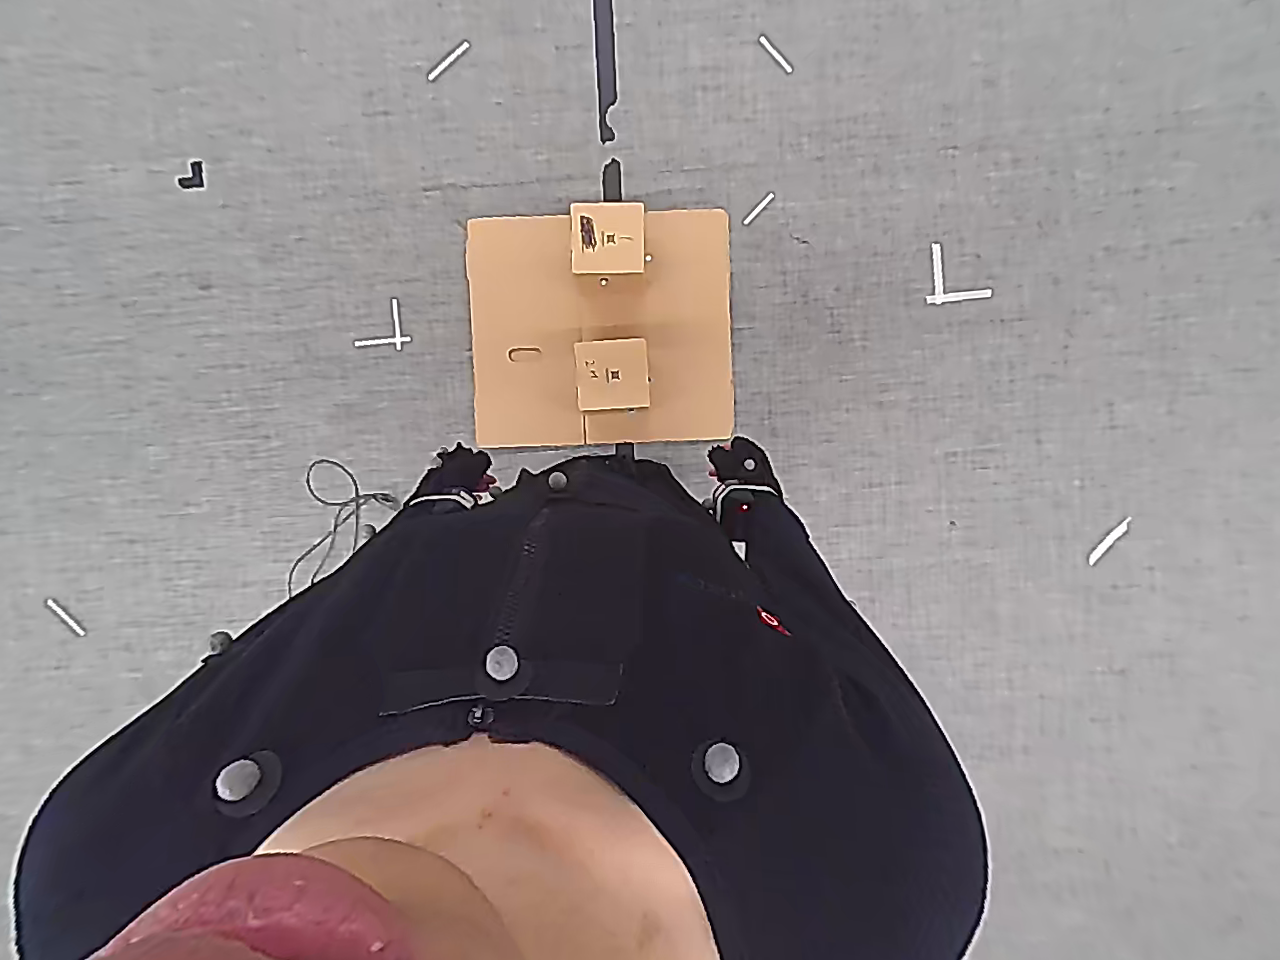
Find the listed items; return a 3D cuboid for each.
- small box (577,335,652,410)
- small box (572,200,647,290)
[{"bbox_3d":[-0.061,-0.269,1.381,0.179,0.176,0.168,-3,93,2],"label":"small box"},{"bbox_3d":[-0.072,-0.586,1.365,0.179,0.176,0.168,0,93,1],"label":"small box"}]
